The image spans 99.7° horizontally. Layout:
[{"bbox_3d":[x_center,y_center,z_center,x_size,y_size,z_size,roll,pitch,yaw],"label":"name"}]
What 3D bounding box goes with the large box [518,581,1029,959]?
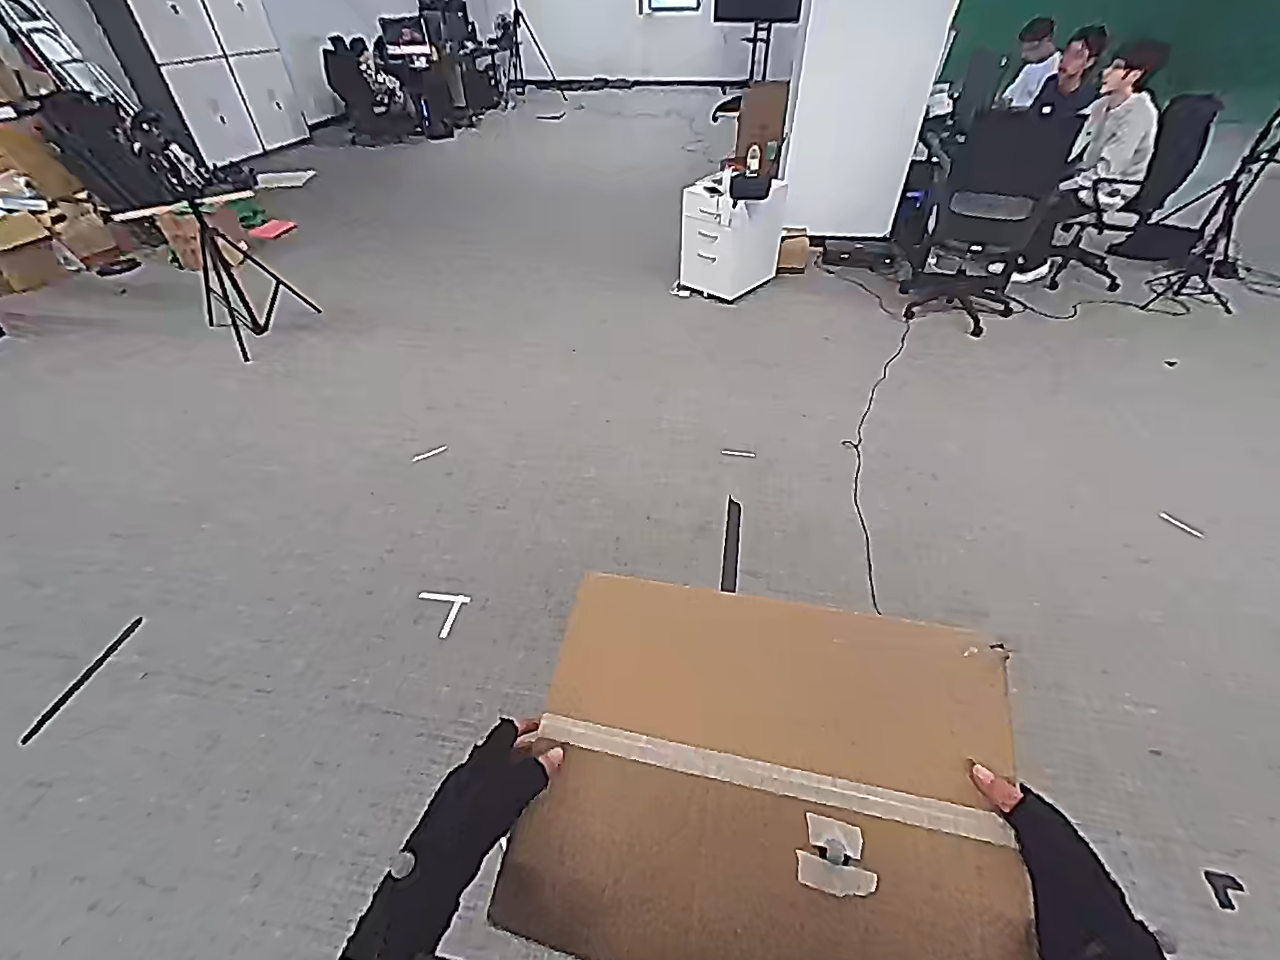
[{"bbox_3d":[0.138,0.332,0.611,0.408,0.320,0.320,5,62,16],"label":"large box"}]
